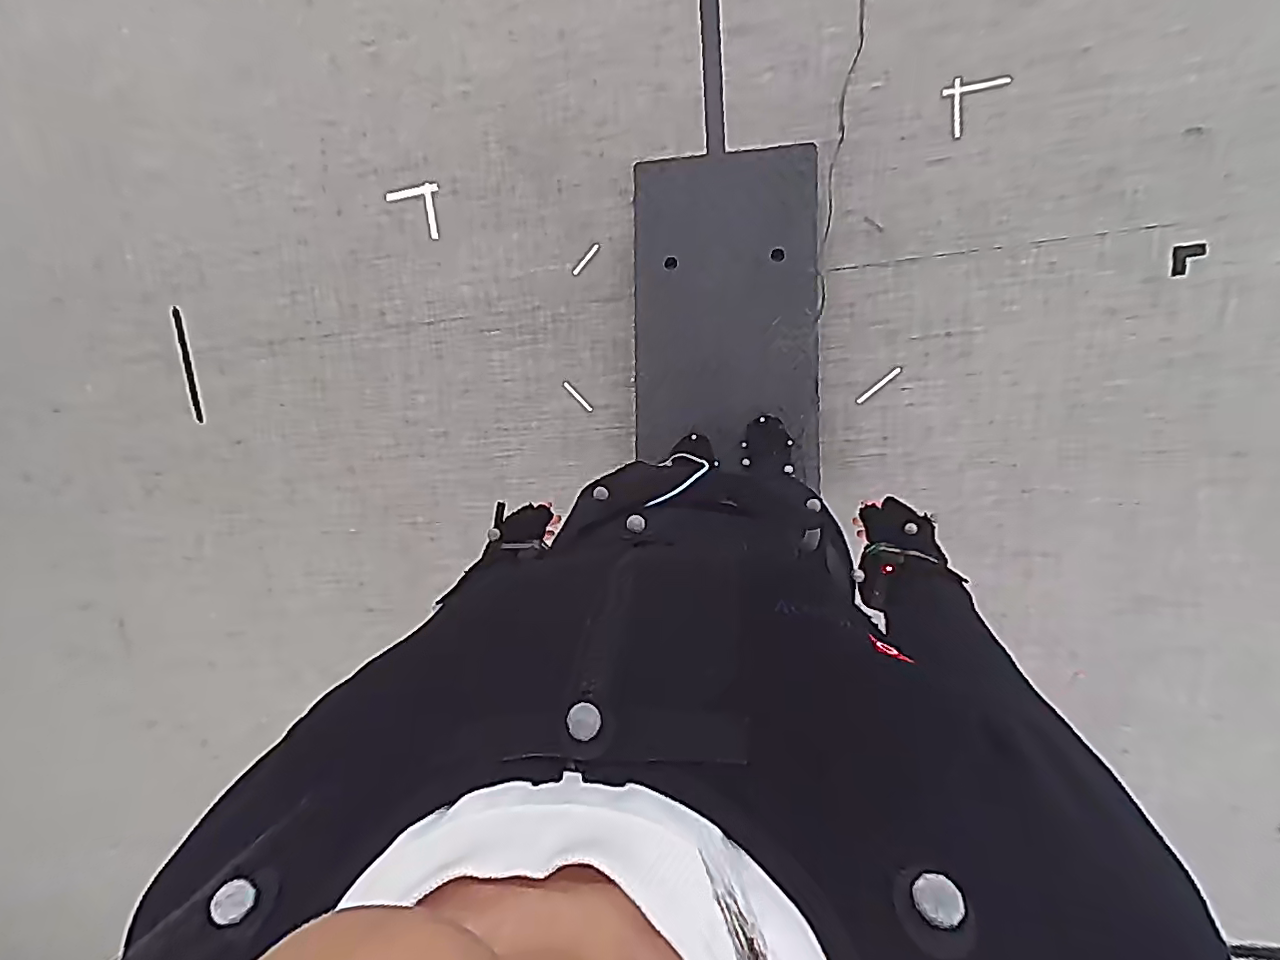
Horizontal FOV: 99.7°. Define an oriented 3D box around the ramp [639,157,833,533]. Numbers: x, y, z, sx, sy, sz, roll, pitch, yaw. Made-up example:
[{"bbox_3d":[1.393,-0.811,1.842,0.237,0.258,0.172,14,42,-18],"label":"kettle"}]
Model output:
[{"bbox_3d":[0.247,-0.358,1.471,0.509,0.206,0.991,-4,97,12],"label":"ramp"}]
